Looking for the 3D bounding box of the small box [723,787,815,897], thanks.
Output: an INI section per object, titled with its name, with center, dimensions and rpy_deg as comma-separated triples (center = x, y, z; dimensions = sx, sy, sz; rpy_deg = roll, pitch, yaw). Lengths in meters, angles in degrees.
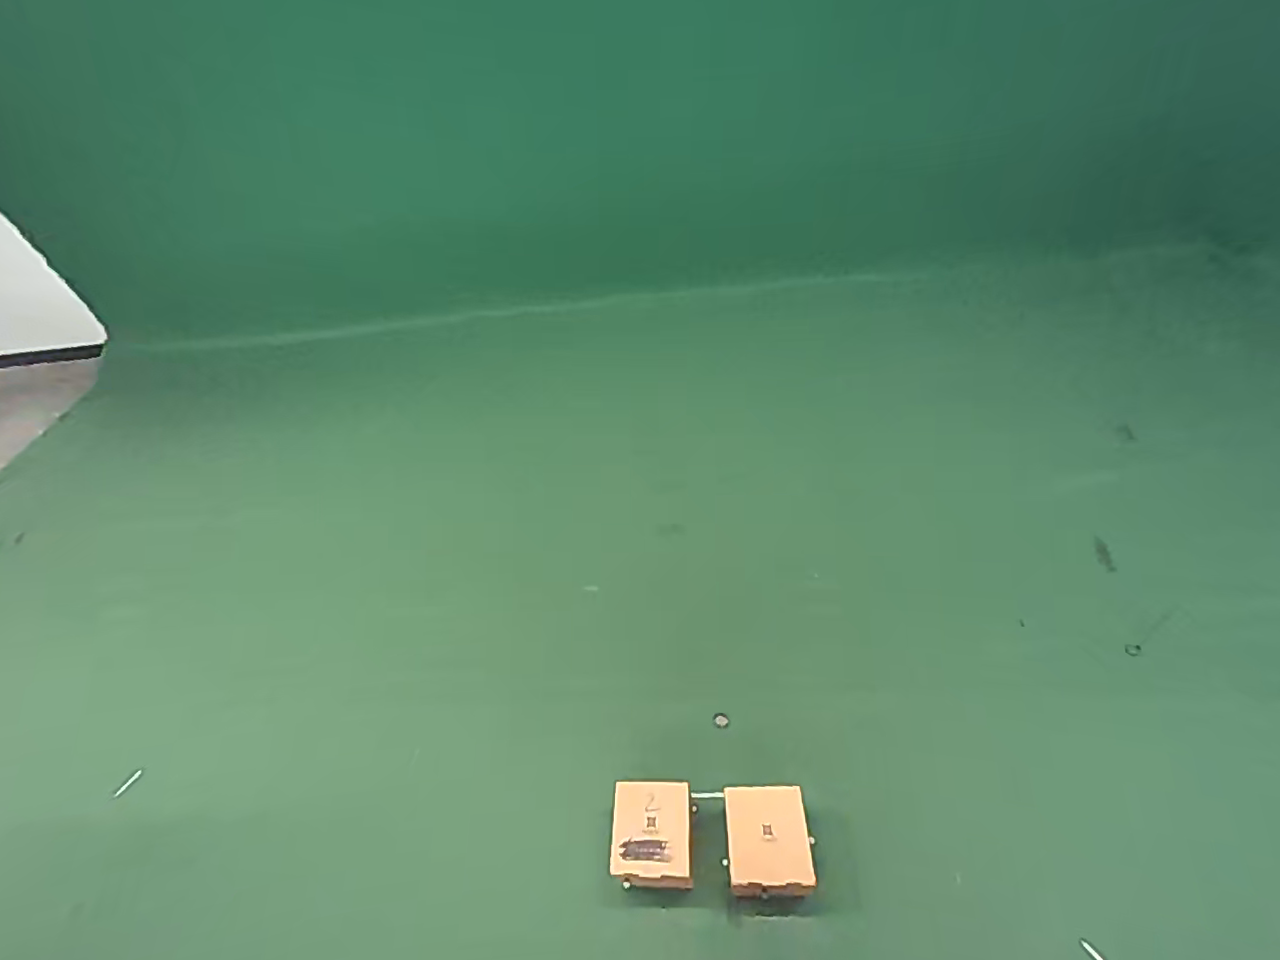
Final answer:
[small box]
center = 0.272, 0.791, 1.181
dimensions = 0.168, 0.176, 0.179
rpy_deg = -4, 48, 5
